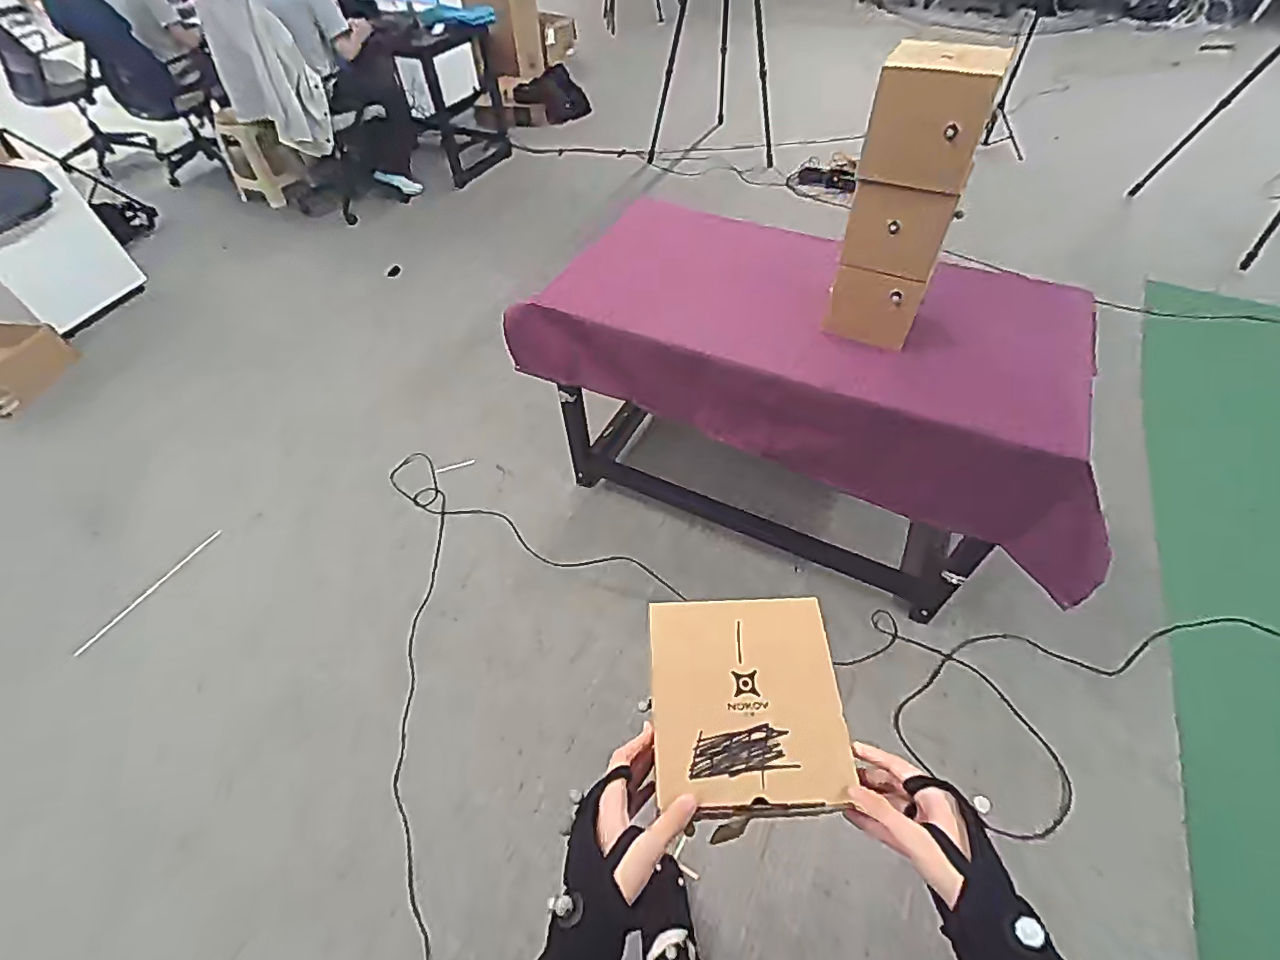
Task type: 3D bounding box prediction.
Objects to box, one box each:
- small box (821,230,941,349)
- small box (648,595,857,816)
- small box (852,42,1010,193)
[{"bbox_3d":[0.517,-0.409,1.173,0.179,0.176,0.168,22,55,19],"label":"small box"},{"bbox_3d":[0.093,0.231,0.542,0.168,0.176,0.179,-1,54,-1],"label":"small box"},{"bbox_3d":[0.485,-0.612,0.917,0.179,0.176,0.168,21,54,20],"label":"small box"}]
